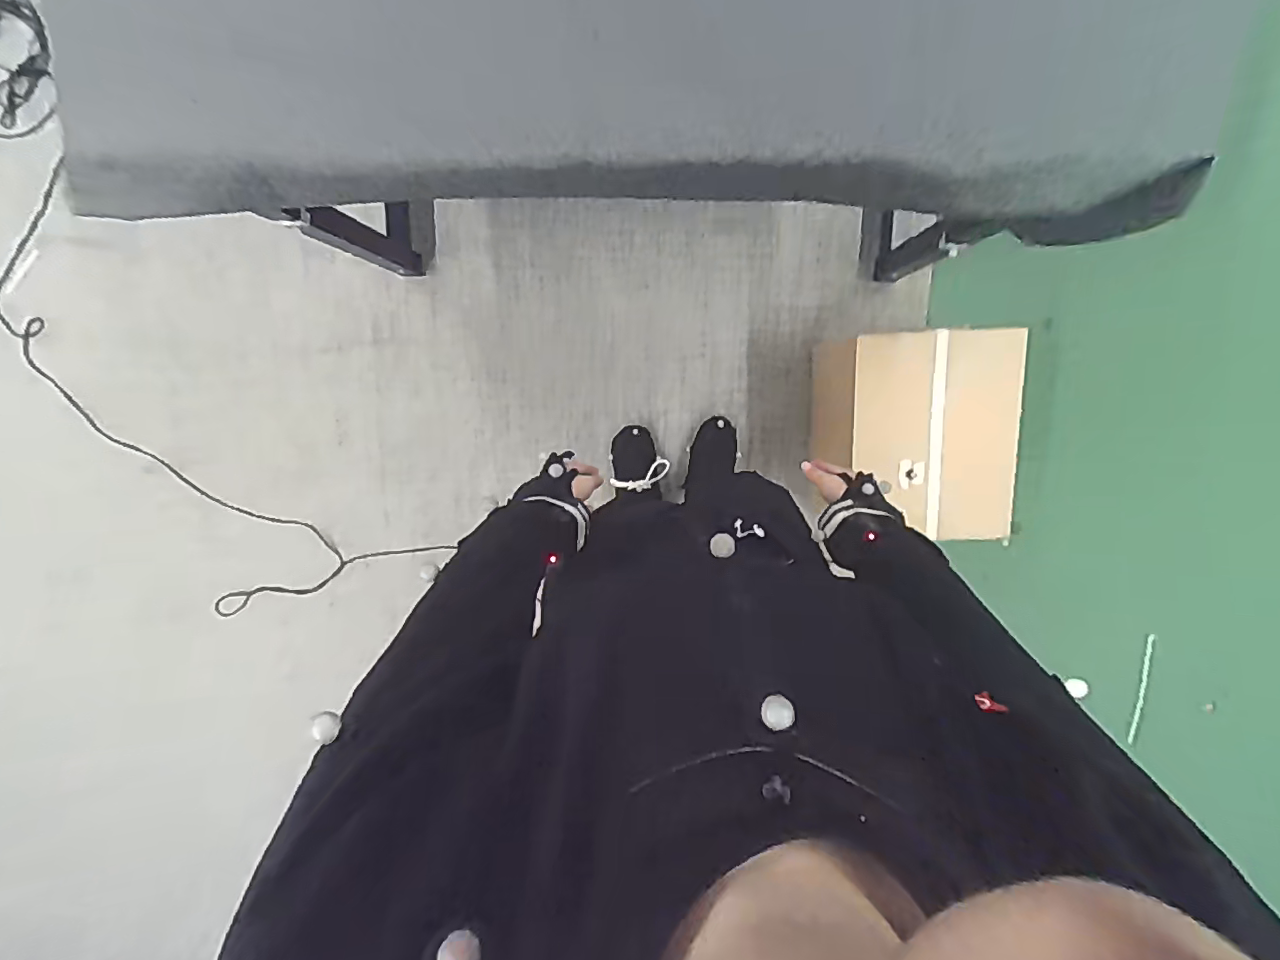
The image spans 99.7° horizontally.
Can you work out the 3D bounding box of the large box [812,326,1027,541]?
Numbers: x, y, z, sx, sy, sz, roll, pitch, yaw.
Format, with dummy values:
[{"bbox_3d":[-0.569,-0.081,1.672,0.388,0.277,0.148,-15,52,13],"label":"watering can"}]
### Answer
[{"bbox_3d":[0.570,-0.107,1.172,0.320,0.320,0.408,-2,100,3],"label":"large box"}]
